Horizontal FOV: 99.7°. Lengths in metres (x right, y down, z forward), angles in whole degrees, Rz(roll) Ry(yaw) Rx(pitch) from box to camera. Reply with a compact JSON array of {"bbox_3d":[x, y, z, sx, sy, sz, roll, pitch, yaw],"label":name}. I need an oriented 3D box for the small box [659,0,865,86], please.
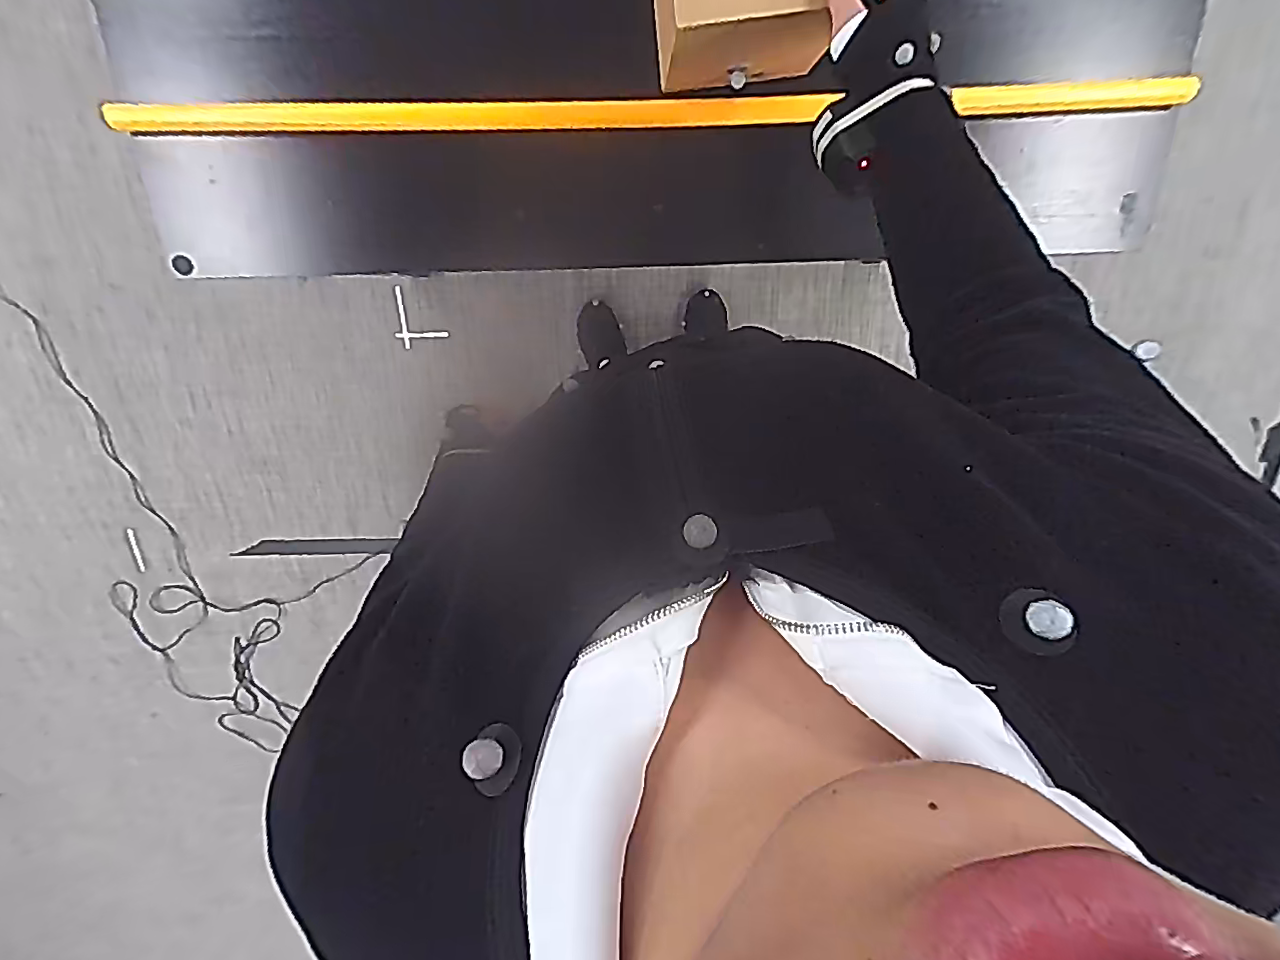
[{"bbox_3d":[0.102,-0.507,0.507,0.168,0.176,0.179,-6,110,1],"label":"small box"}]
